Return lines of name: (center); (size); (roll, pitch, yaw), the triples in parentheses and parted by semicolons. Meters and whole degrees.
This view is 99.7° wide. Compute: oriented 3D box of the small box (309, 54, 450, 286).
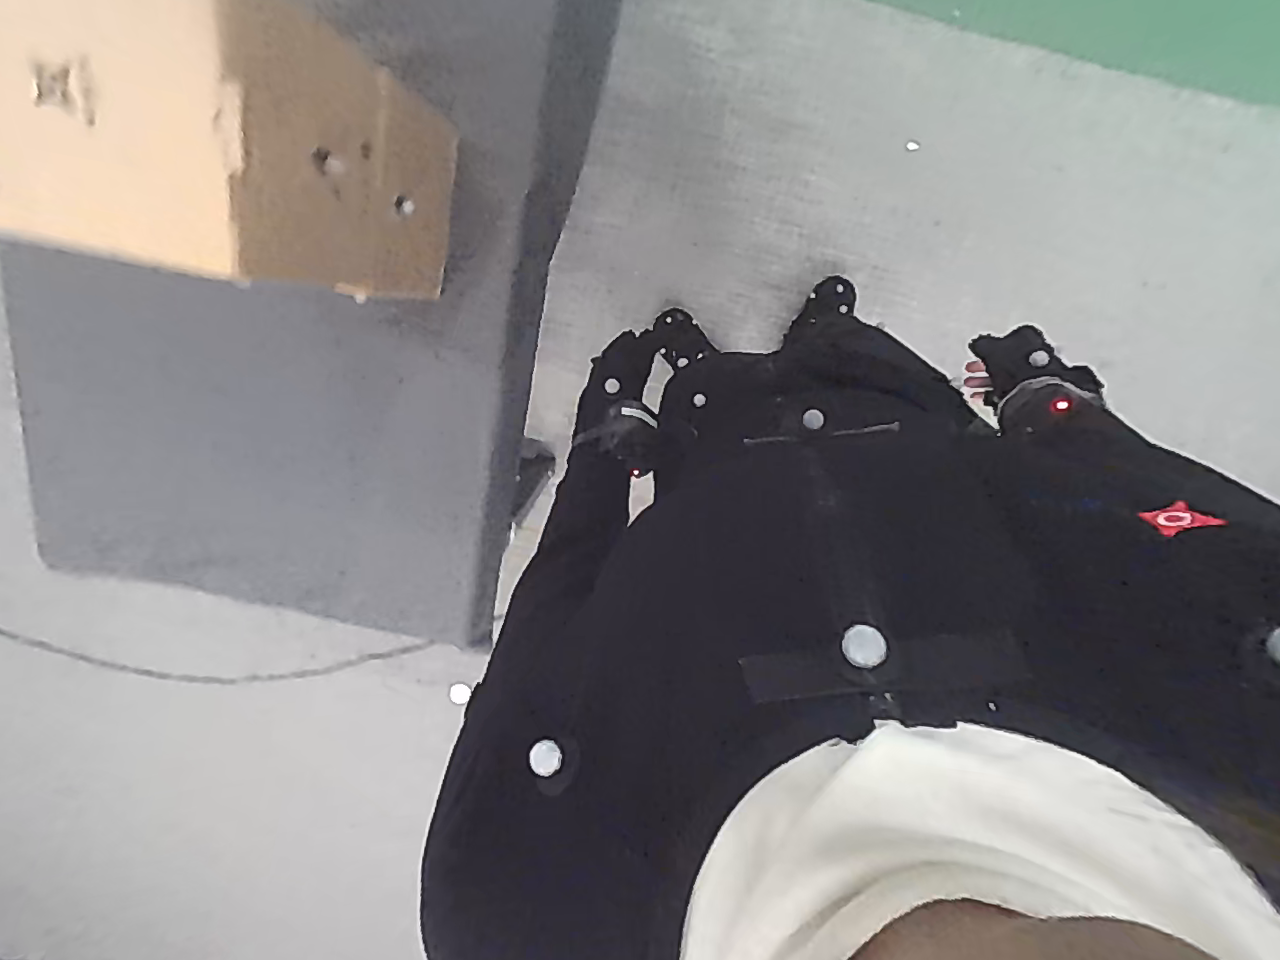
small box: (-0.298, -0.294, 0.523); (0.168, 0.176, 0.179); (13, 108, -3)

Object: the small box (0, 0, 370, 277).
small box: (-0.307, -0.242, 0.369); (0.179, 0.176, 0.168); (11, 109, -3)
